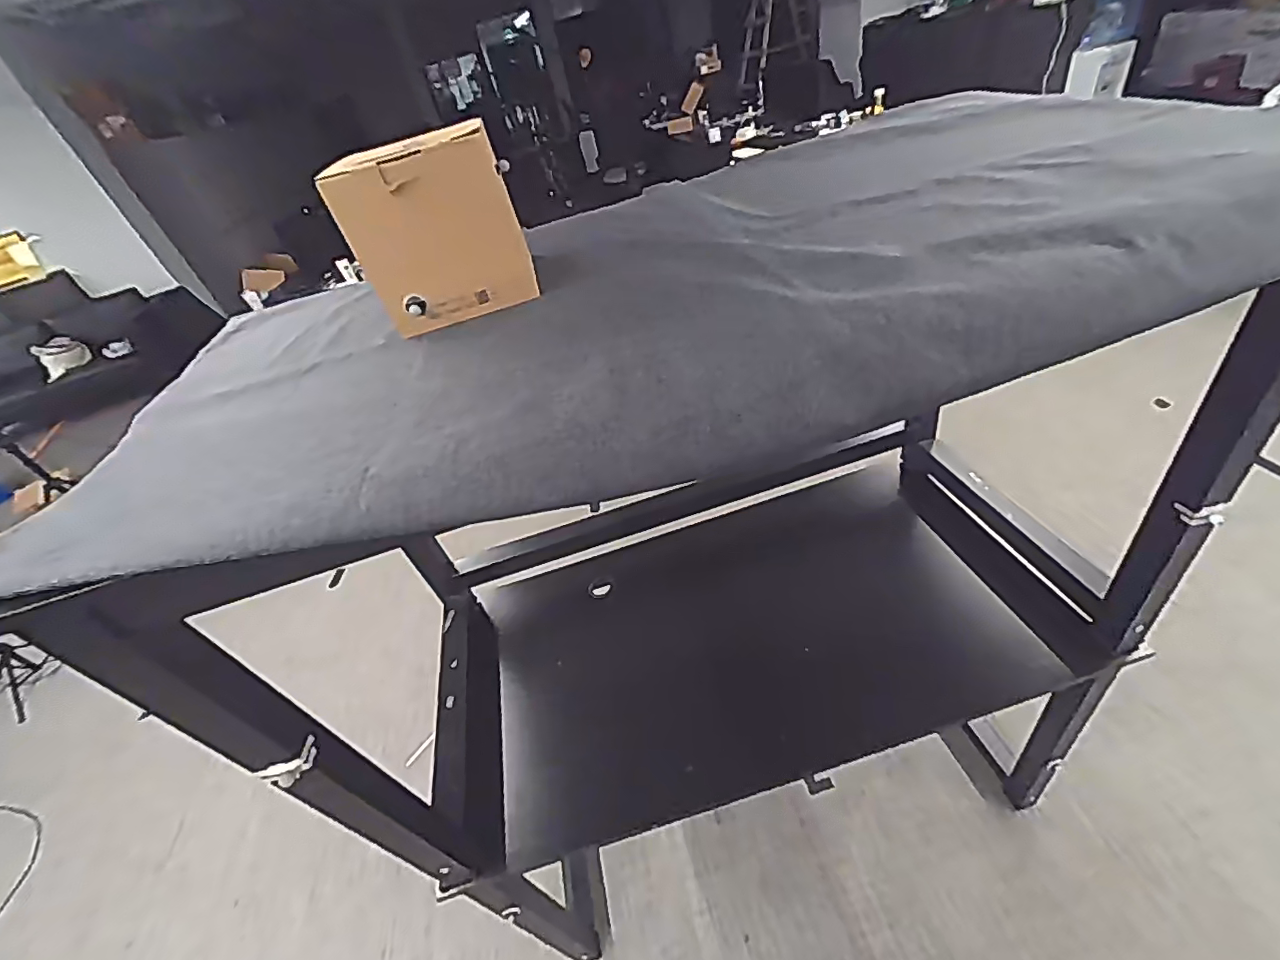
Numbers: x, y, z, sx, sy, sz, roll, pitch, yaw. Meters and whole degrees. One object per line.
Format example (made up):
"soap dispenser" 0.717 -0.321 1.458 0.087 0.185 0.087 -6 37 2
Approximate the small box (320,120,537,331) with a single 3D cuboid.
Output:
"small box" -0.226 -0.291 0.627 0.168 0.176 0.179 -18 38 -1
